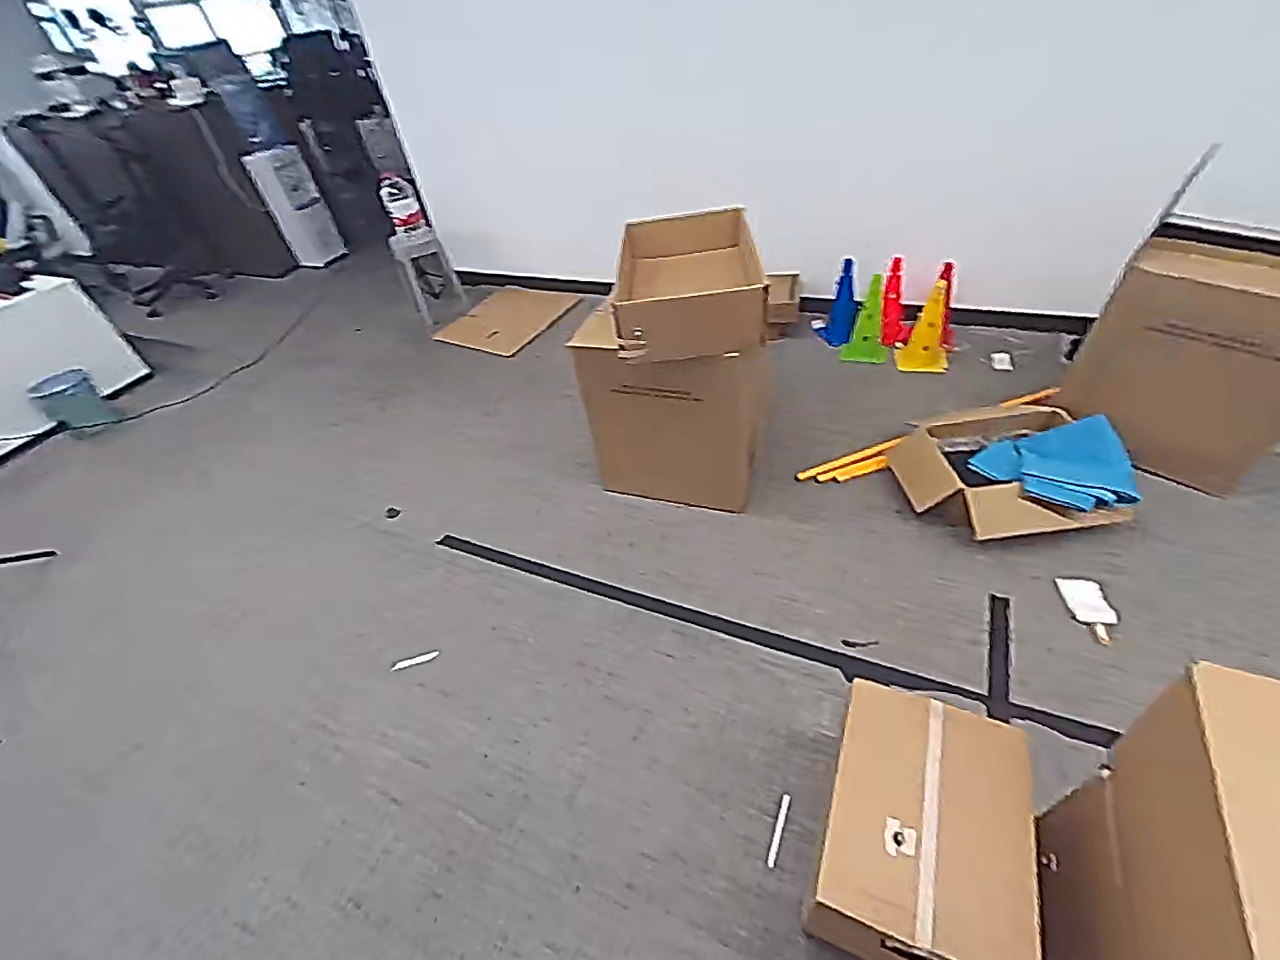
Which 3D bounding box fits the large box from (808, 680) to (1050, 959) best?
[{"bbox_3d":[0.524,0.672,1.028,0.320,0.320,0.408,11,48,22],"label":"large box"}]
